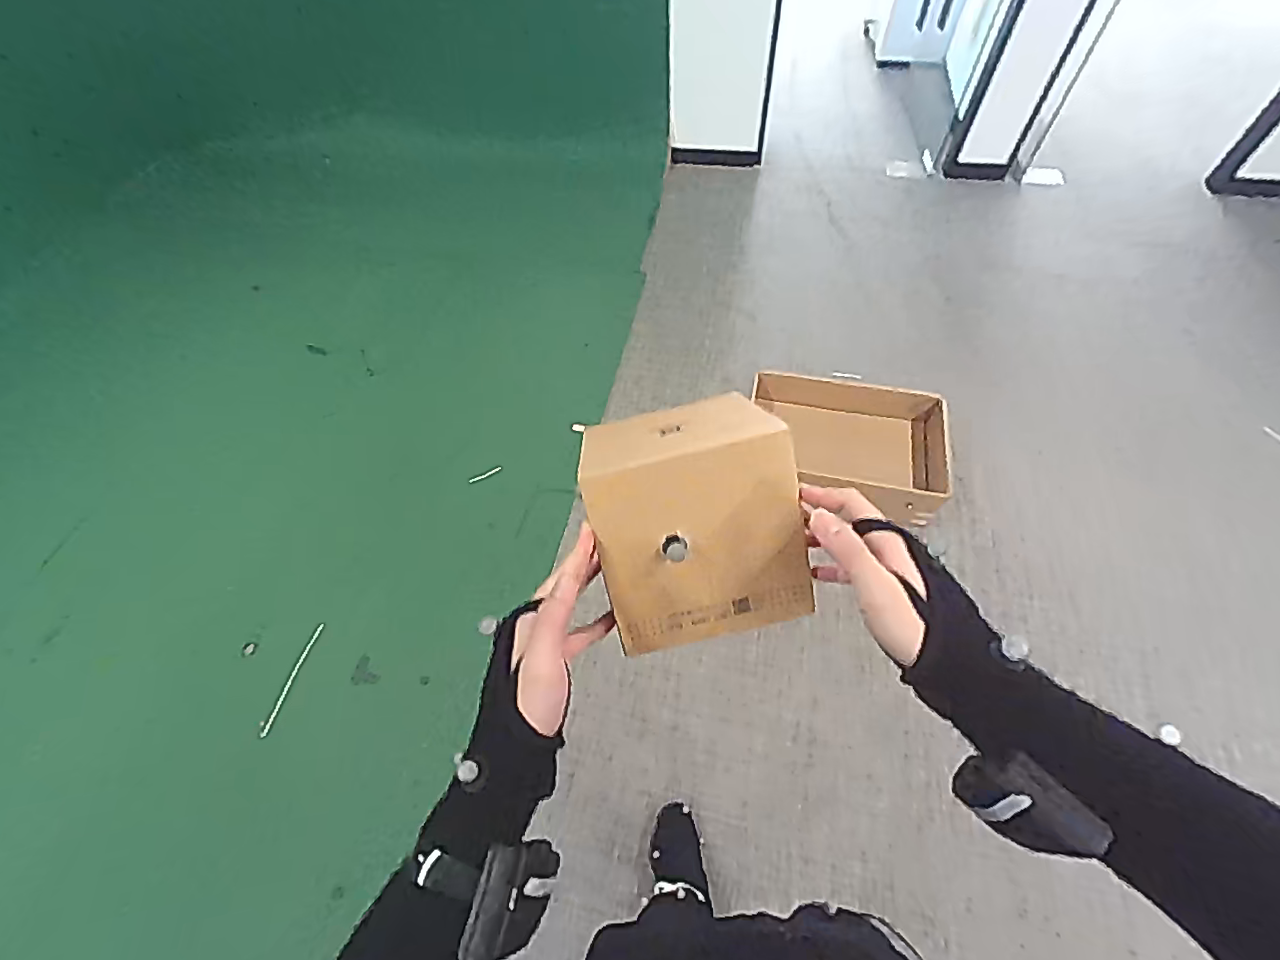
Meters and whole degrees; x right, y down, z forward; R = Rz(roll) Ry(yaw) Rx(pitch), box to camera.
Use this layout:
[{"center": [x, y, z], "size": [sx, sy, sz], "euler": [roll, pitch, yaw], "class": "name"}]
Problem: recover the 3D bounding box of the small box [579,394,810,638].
[{"center": [0.047, 0.031, 0.509], "size": [0.168, 0.176, 0.179], "euler": [-13, 17, 0], "class": "small box"}]
